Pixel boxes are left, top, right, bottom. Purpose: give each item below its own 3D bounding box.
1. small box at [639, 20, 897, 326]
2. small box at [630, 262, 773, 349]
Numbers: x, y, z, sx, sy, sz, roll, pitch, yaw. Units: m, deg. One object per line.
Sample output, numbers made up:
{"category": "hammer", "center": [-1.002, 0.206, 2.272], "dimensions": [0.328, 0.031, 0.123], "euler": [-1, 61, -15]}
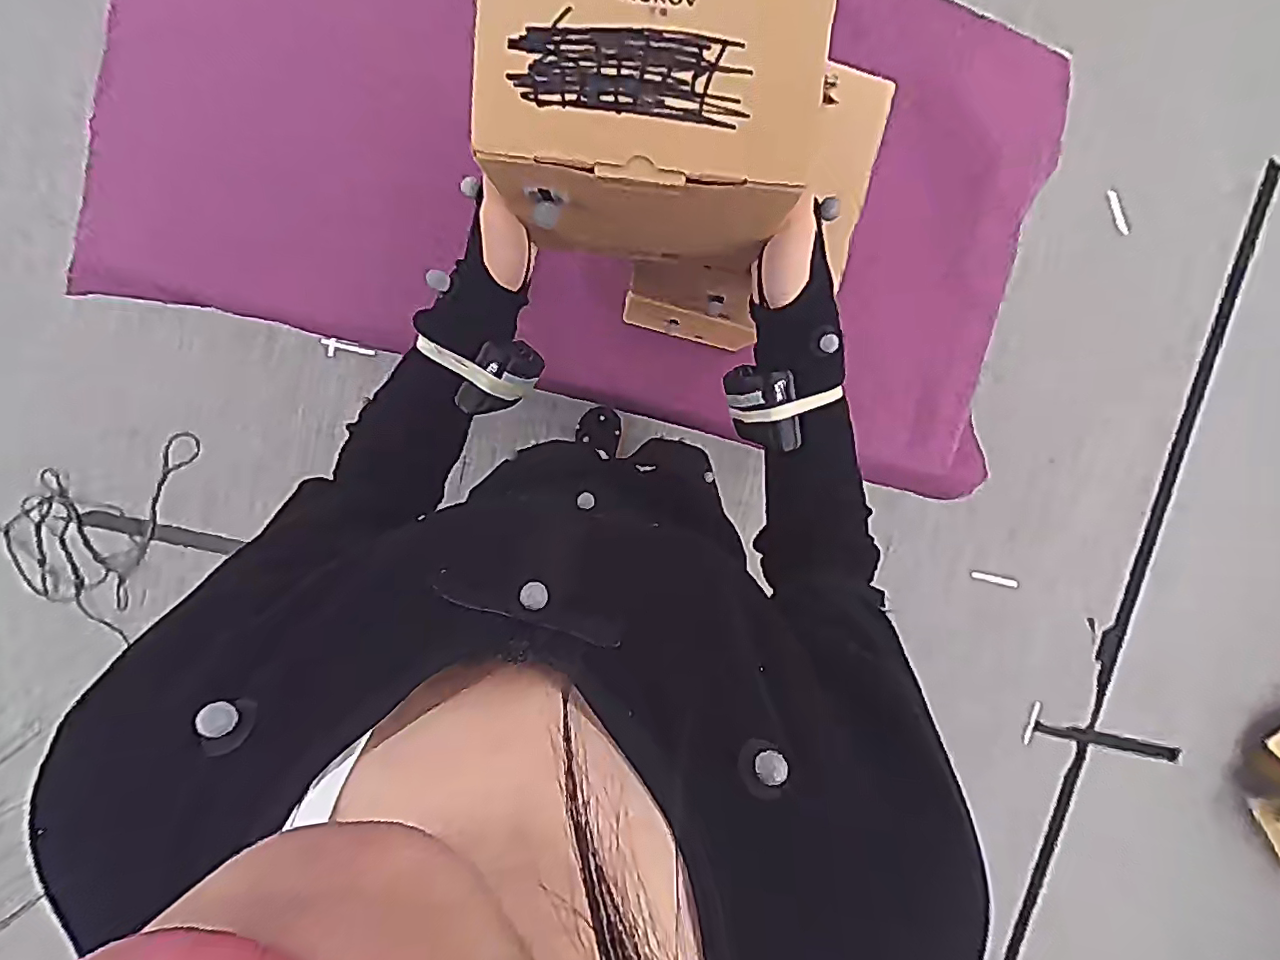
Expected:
{"category": "small box", "center": [0.098, -0.258, 0.506], "dimensions": [0.168, 0.176, 0.179], "euler": [15, 96, -5]}
{"category": "small box", "center": [0.086, -0.272, 0.669], "dimensions": [0.168, 0.176, 0.179], "euler": [14, 95, -5]}
